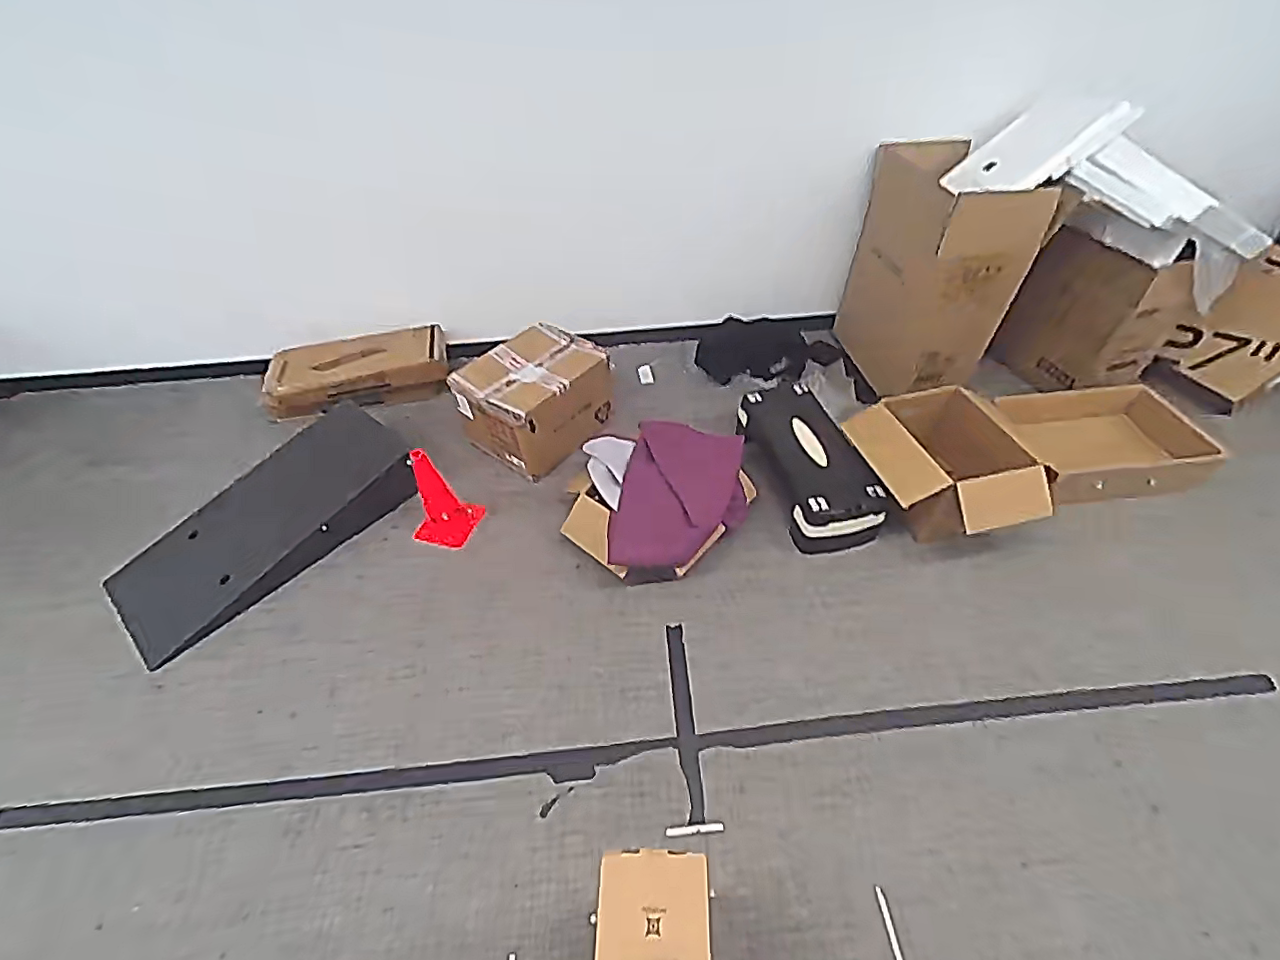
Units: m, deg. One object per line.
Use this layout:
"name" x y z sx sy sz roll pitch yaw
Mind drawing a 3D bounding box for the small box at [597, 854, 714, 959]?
"small box" 0.025 0.699 0.834 0.168 0.176 0.179 -1 47 3
